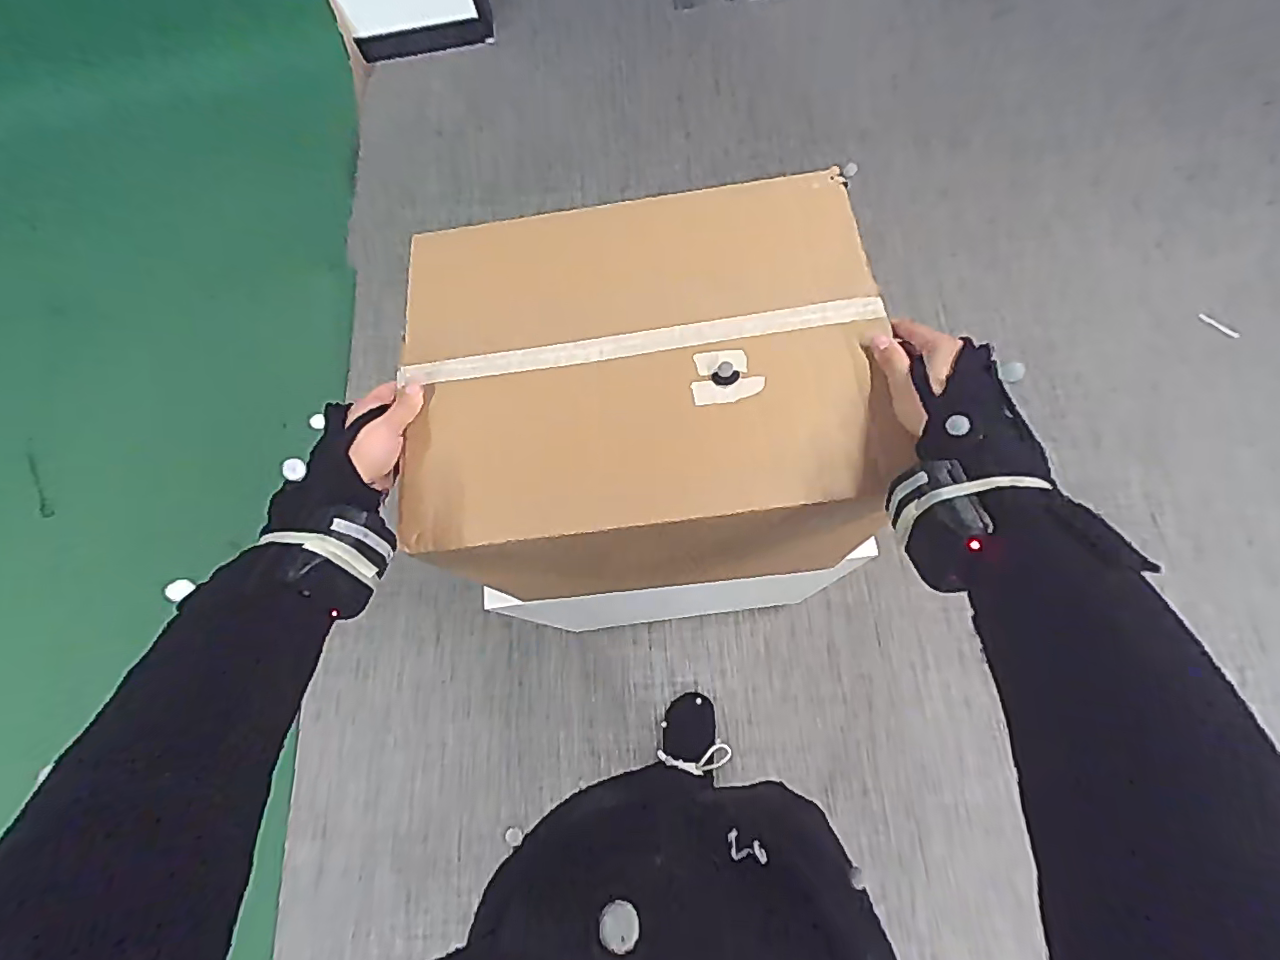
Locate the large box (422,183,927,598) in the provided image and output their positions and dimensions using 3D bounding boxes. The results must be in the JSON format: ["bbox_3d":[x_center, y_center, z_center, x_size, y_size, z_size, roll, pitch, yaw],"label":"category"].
[{"bbox_3d":[0.017,-0.064,0.606,0.408,0.320,0.320,-7,71,2],"label":"large box"}]
